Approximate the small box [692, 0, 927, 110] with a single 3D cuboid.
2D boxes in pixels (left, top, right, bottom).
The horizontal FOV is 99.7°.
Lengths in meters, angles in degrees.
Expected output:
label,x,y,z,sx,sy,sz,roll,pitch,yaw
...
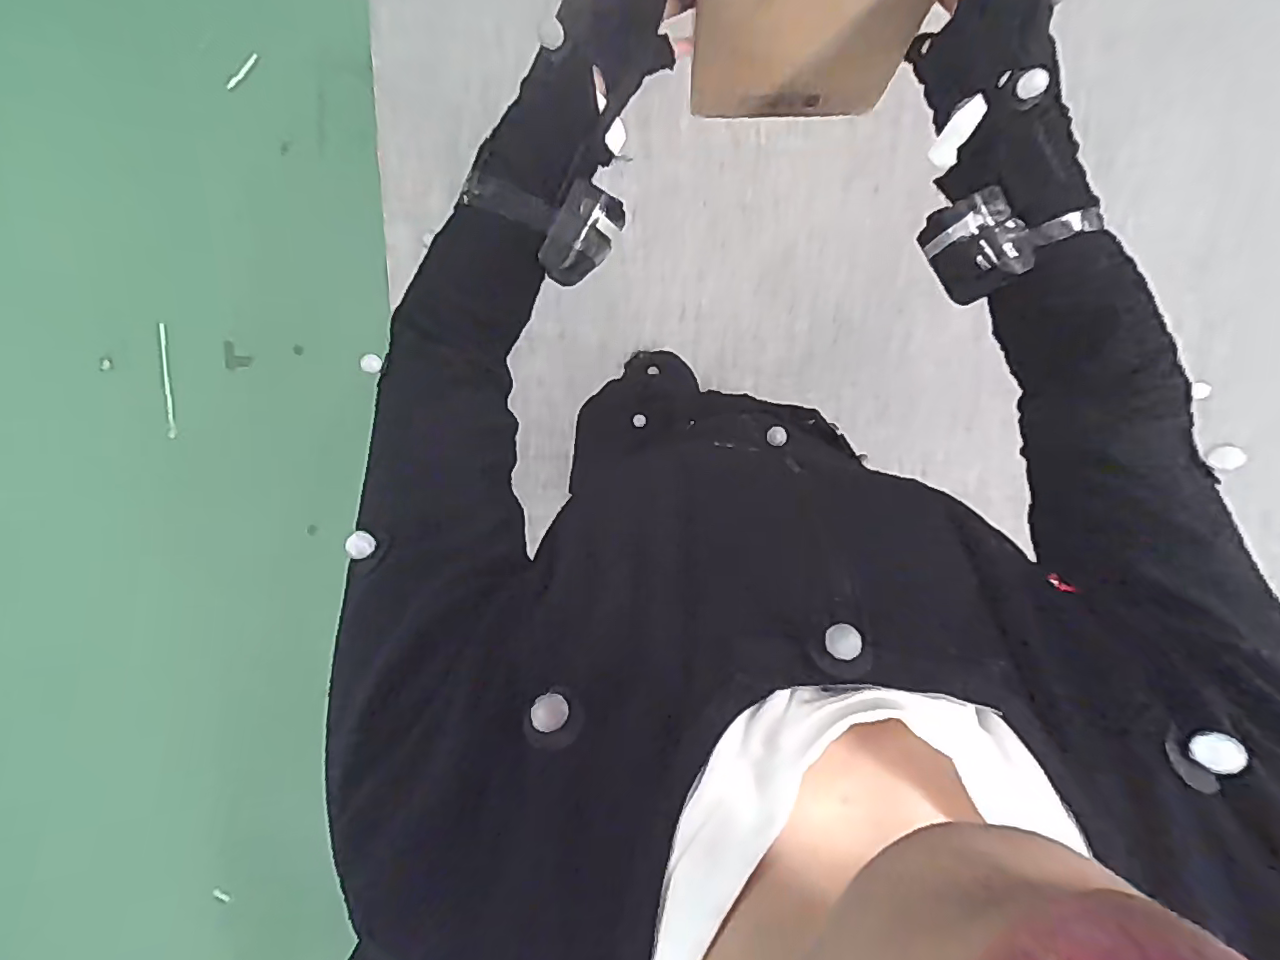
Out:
label,x,y,z,sx,sy,sz,roll,pitch,yaw
small box,0.127,-0.427,0.413,0.168,0.176,0.179,1,89,3
